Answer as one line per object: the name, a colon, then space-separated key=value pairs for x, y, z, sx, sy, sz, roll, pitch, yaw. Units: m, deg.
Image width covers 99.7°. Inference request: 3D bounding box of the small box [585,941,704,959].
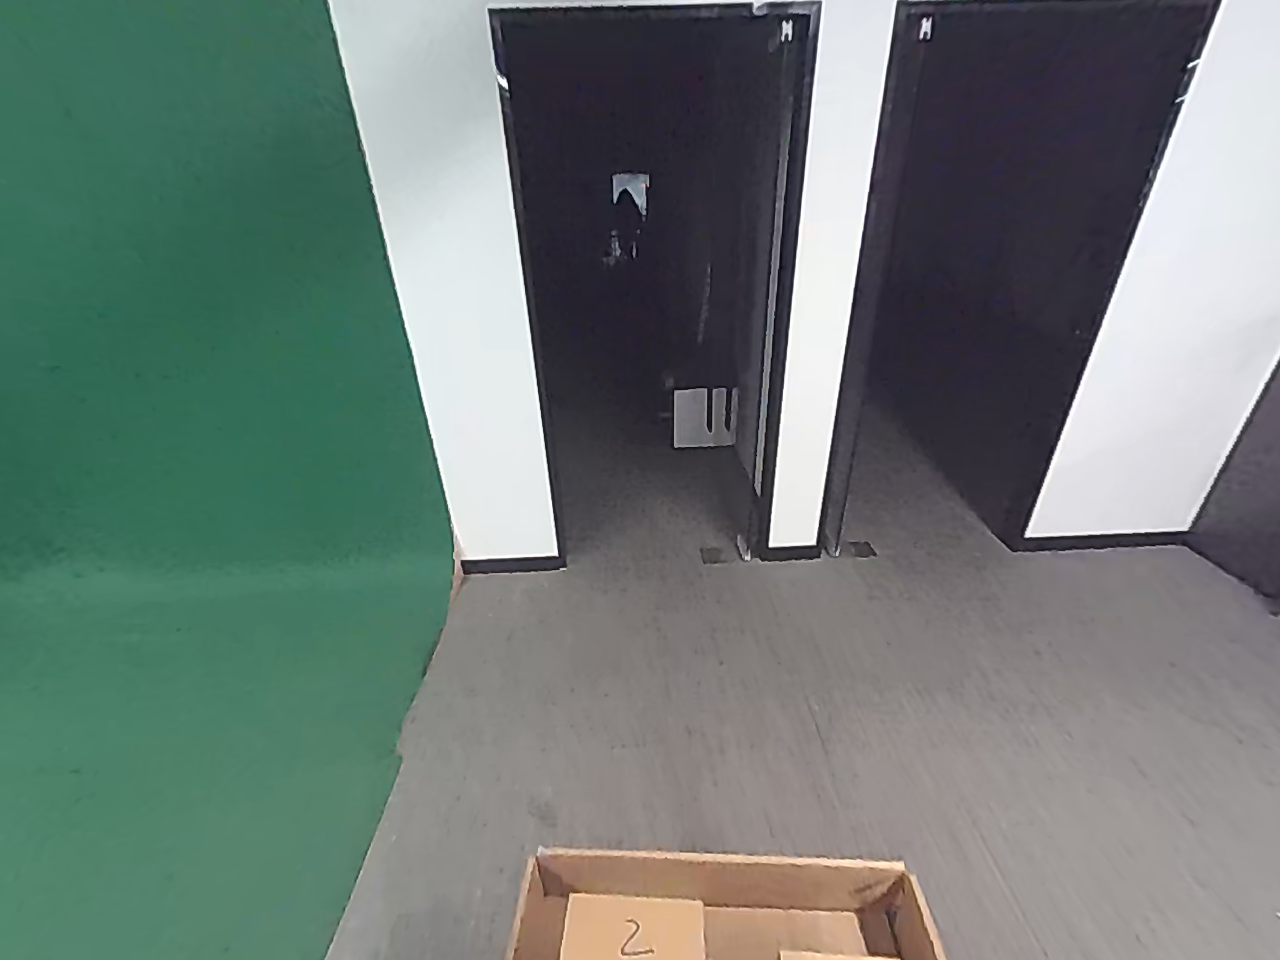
small box: x=0.004 y=0.757 z=0.715 sx=0.168 sy=0.176 sz=0.179 roll=-1 pitch=30 yaw=3
